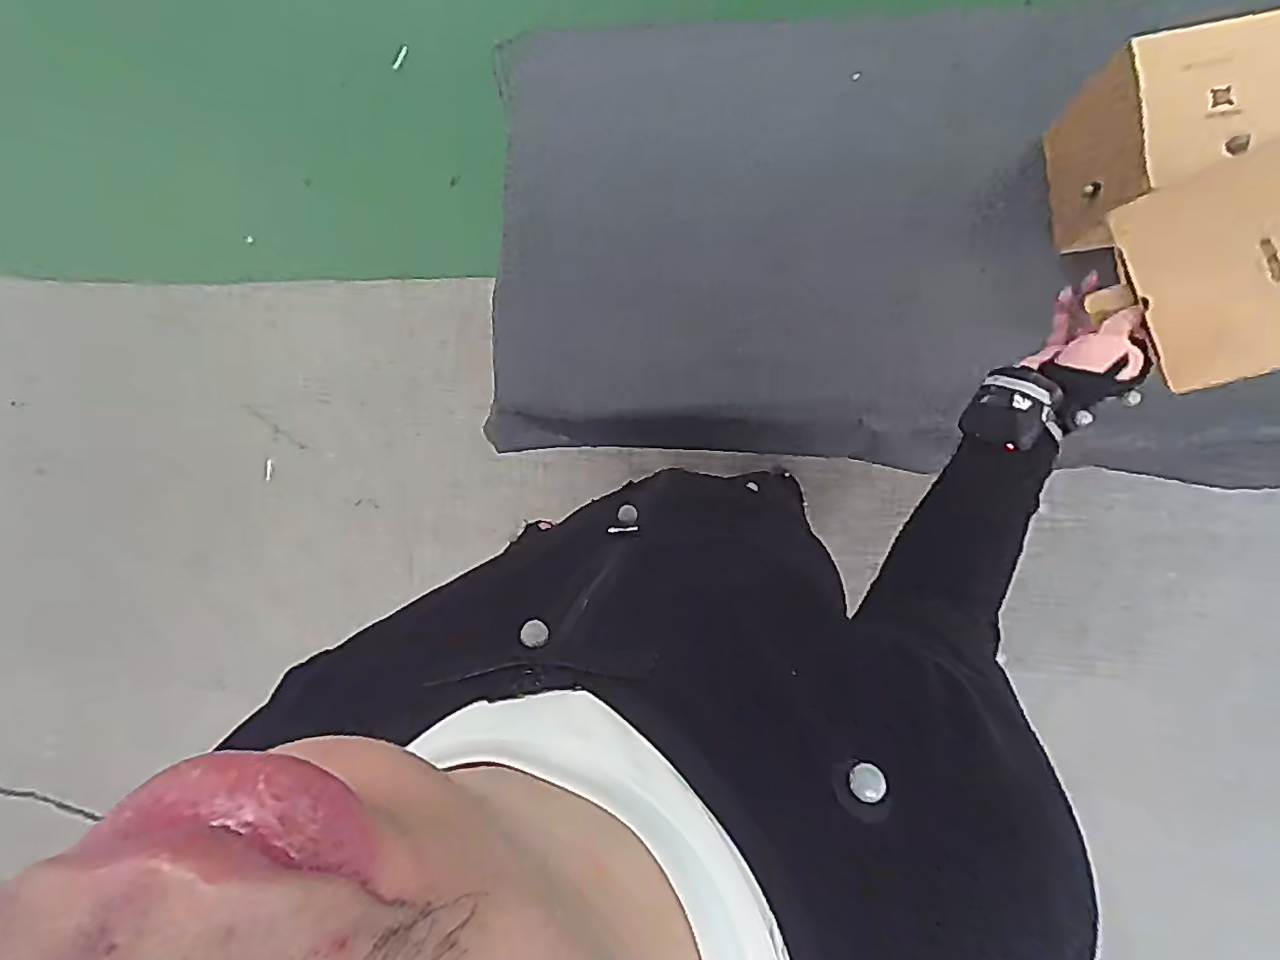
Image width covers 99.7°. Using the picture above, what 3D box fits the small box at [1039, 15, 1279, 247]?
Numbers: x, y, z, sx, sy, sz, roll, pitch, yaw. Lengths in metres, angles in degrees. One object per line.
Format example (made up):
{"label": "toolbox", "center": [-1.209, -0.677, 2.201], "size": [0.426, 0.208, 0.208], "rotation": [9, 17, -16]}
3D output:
{"label": "small box", "center": [0.640, -0.410, 0.673], "size": [0.168, 0.176, 0.179], "rotation": [-6, 88, 6]}
